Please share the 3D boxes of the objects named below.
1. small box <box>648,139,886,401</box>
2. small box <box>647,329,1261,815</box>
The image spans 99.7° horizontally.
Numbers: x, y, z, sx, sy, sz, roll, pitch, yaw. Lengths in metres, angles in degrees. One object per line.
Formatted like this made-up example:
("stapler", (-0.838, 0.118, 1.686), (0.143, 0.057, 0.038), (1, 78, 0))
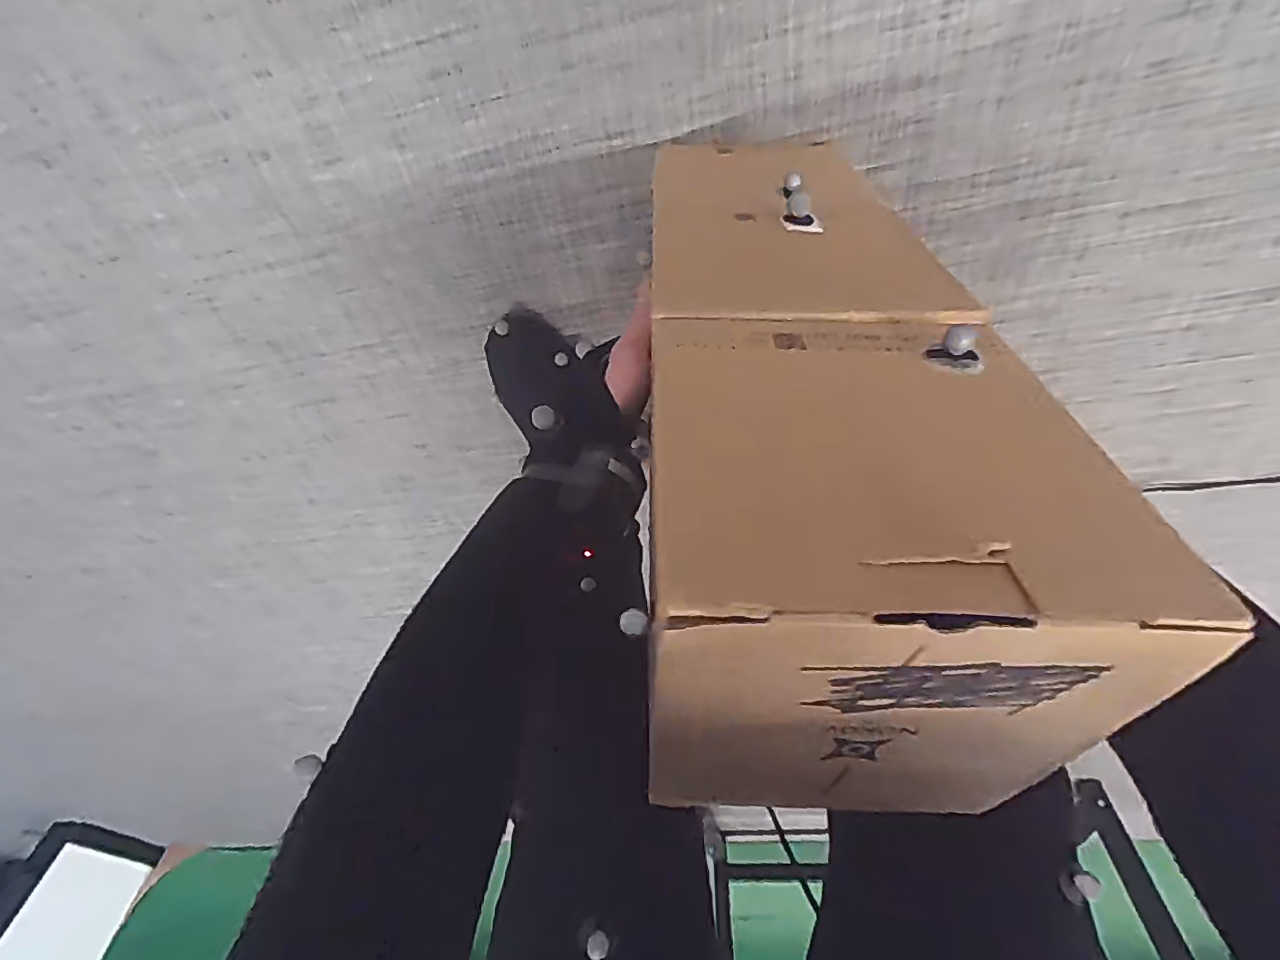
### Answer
("small box", (0.095, -0.187, 0.492), (0.168, 0.176, 0.179), (2, 135, 2))
("small box", (0.088, 0.043, 0.261), (0.168, 0.176, 0.179), (2, 136, 1))
